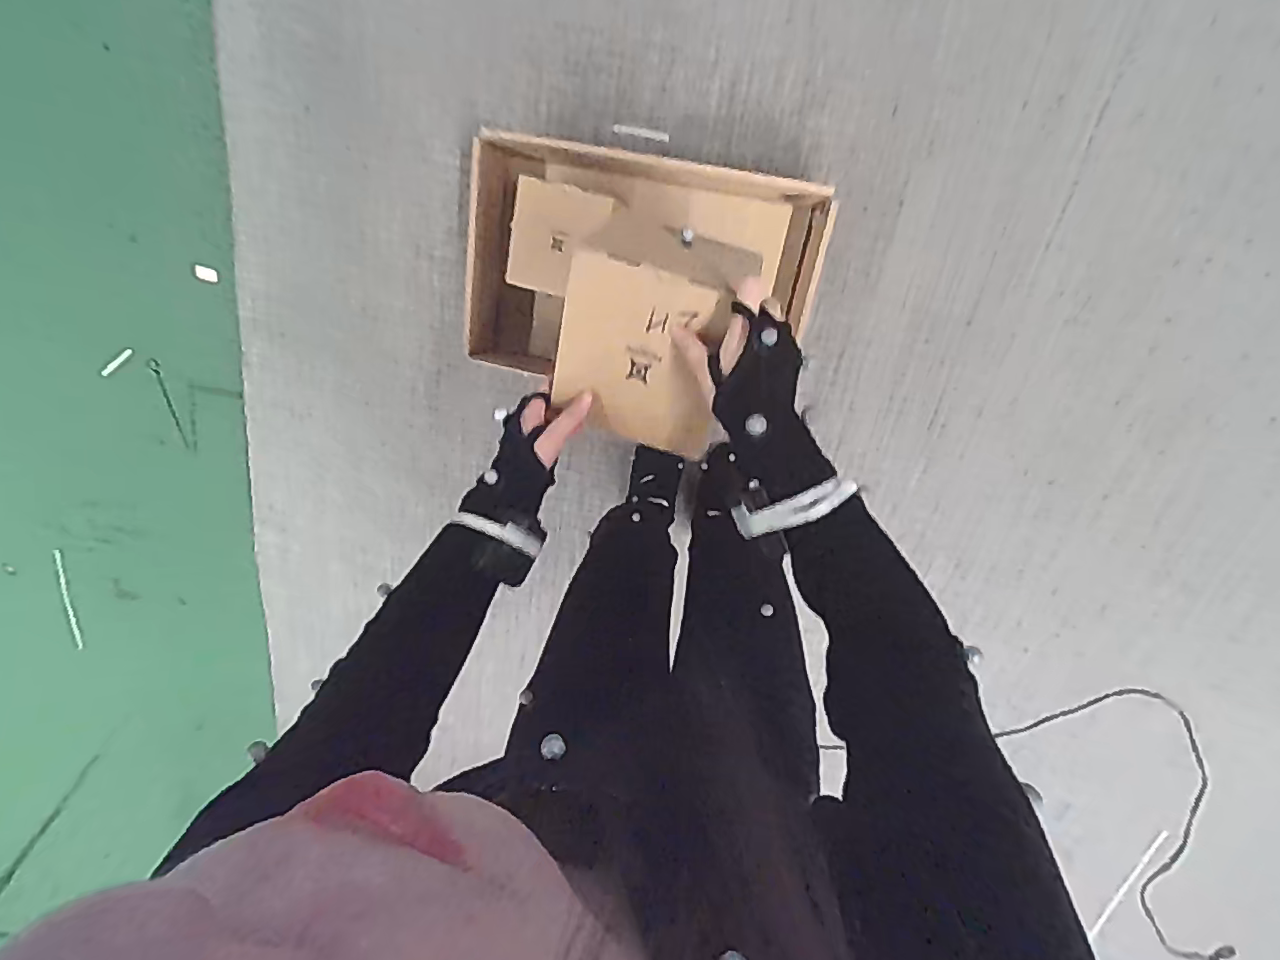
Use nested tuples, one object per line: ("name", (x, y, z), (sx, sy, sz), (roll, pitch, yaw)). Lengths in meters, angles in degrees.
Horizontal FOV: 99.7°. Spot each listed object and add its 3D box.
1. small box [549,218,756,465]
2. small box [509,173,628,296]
("small box", (0.018, -0.151, 0.570), (0.168, 0.176, 0.179), (18, 128, 2))
("small box", (-0.125, -0.438, 1.000), (0.168, 0.176, 0.179), (15, 111, 2))
